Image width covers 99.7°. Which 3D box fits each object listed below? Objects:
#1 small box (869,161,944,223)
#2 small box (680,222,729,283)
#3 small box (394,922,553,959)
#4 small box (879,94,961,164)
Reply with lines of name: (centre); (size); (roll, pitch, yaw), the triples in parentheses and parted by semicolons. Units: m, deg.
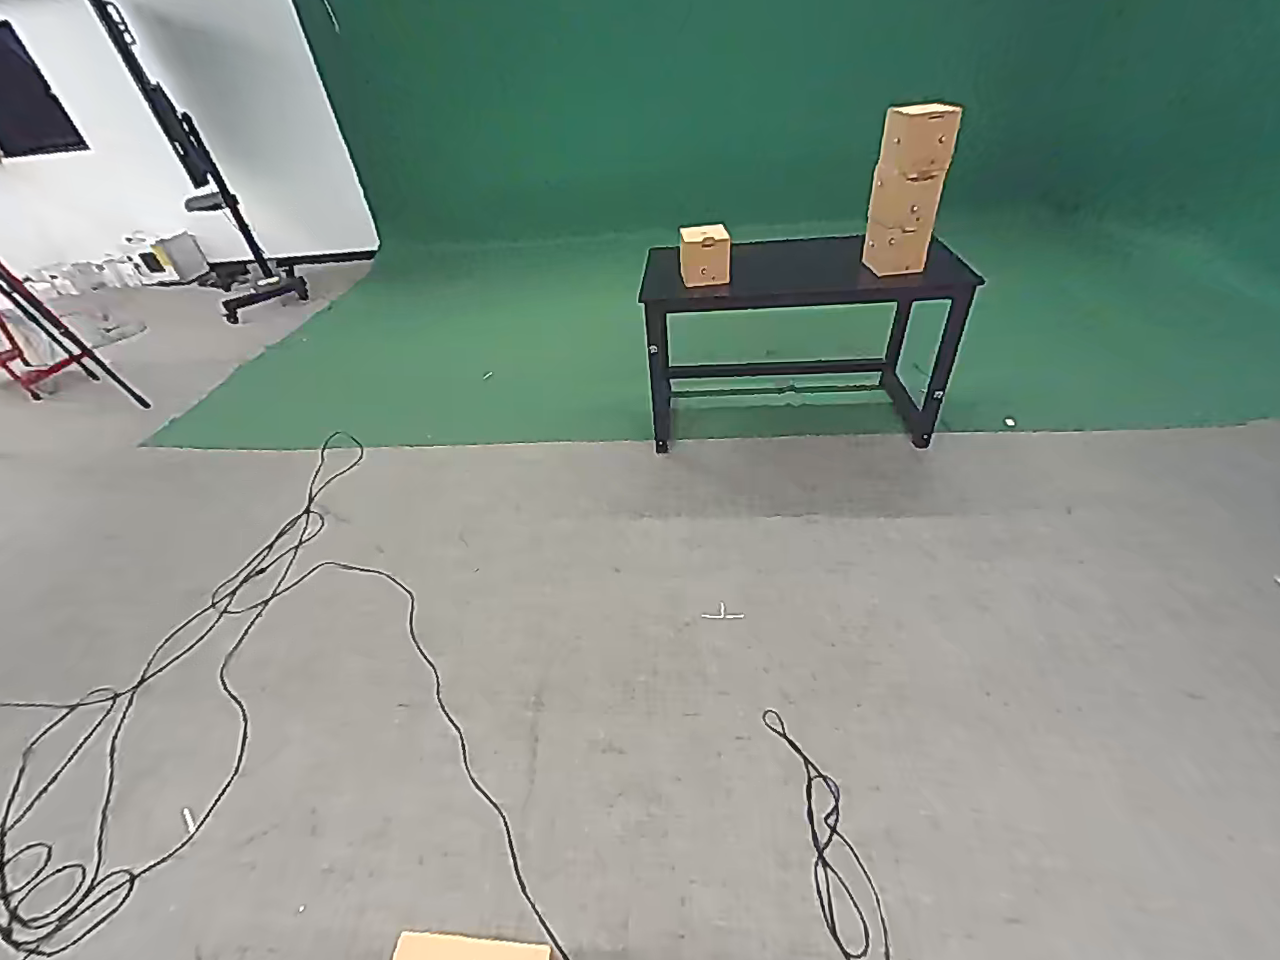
small box: (0.916, -1.006, 1.881); (0.168, 0.176, 0.179); (-6, 40, 1)
small box: (0.242, -0.869, 2.069); (0.168, 0.176, 0.179); (-6, 41, 0)
small box: (-0.179, 0.600, 0.563); (0.168, 0.176, 0.179); (3, 38, 4)
small box: (0.907, -1.145, 1.767); (0.168, 0.176, 0.179); (-6, 39, 1)
